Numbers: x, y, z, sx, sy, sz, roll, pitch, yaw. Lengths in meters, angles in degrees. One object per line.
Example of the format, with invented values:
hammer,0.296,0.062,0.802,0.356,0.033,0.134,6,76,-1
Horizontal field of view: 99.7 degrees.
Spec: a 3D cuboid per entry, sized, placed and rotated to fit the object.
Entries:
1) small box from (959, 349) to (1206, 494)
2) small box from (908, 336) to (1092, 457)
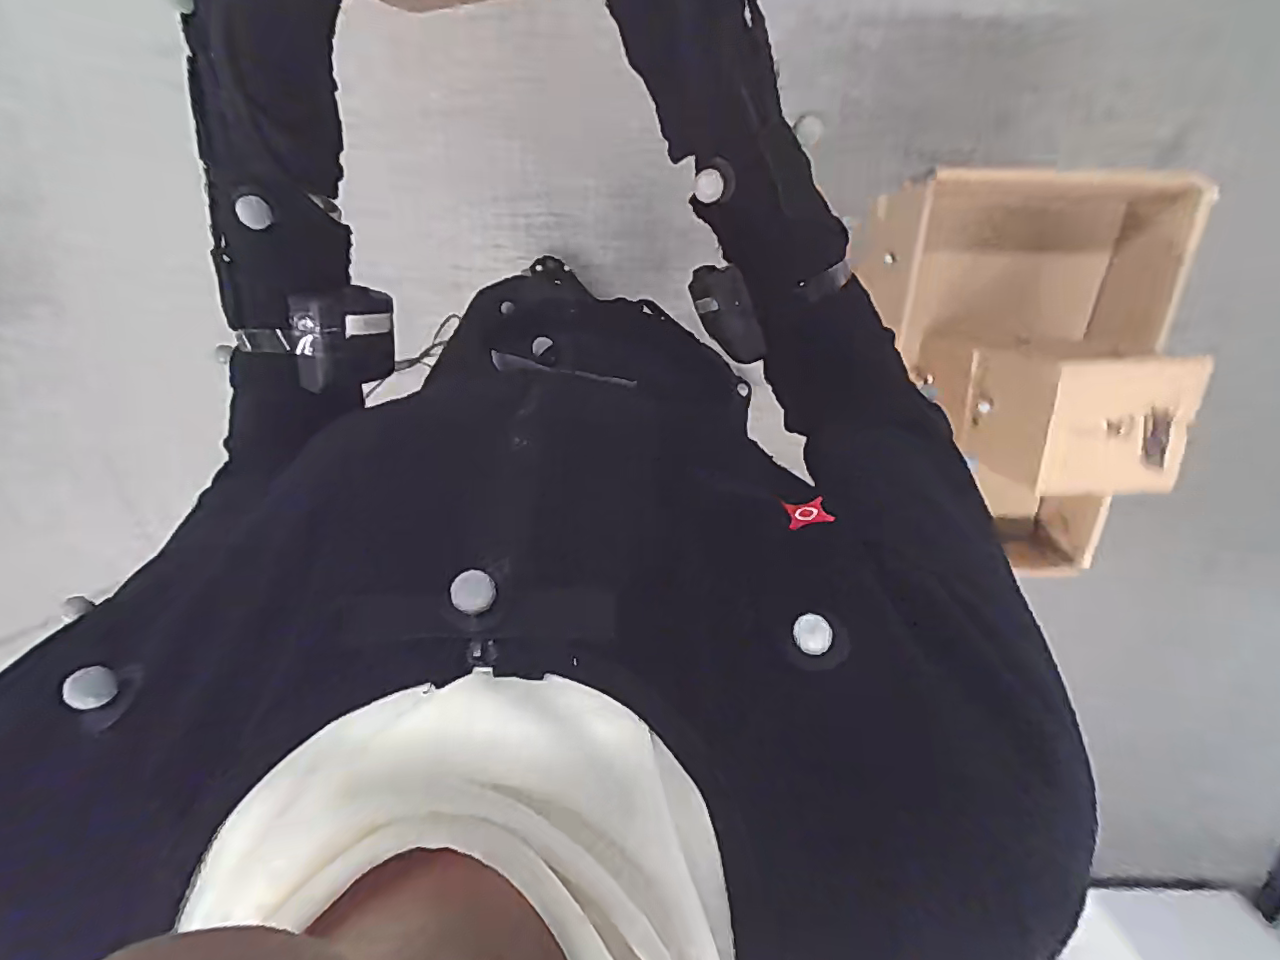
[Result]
small box,0.575,-0.086,0.731,0.179,0.176,0.168,-1,109,1
small box,0.573,-0.142,0.885,0.179,0.176,0.168,-3,109,2
